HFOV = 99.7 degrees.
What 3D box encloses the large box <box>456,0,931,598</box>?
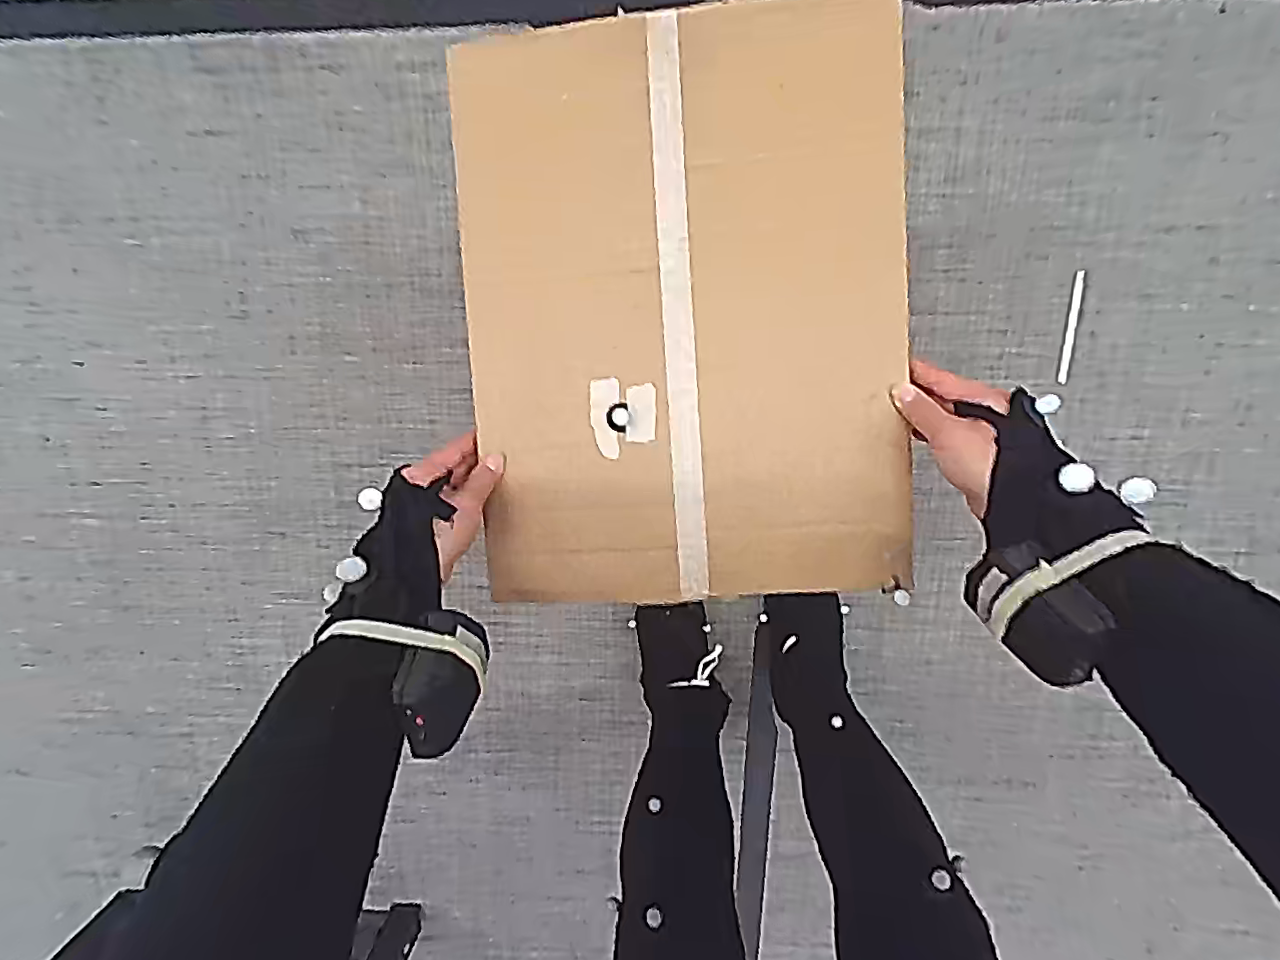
[{"bbox_3d":[0.050,-0.132,0.529,0.320,0.320,0.408,-4,95,6],"label":"large box"}]
